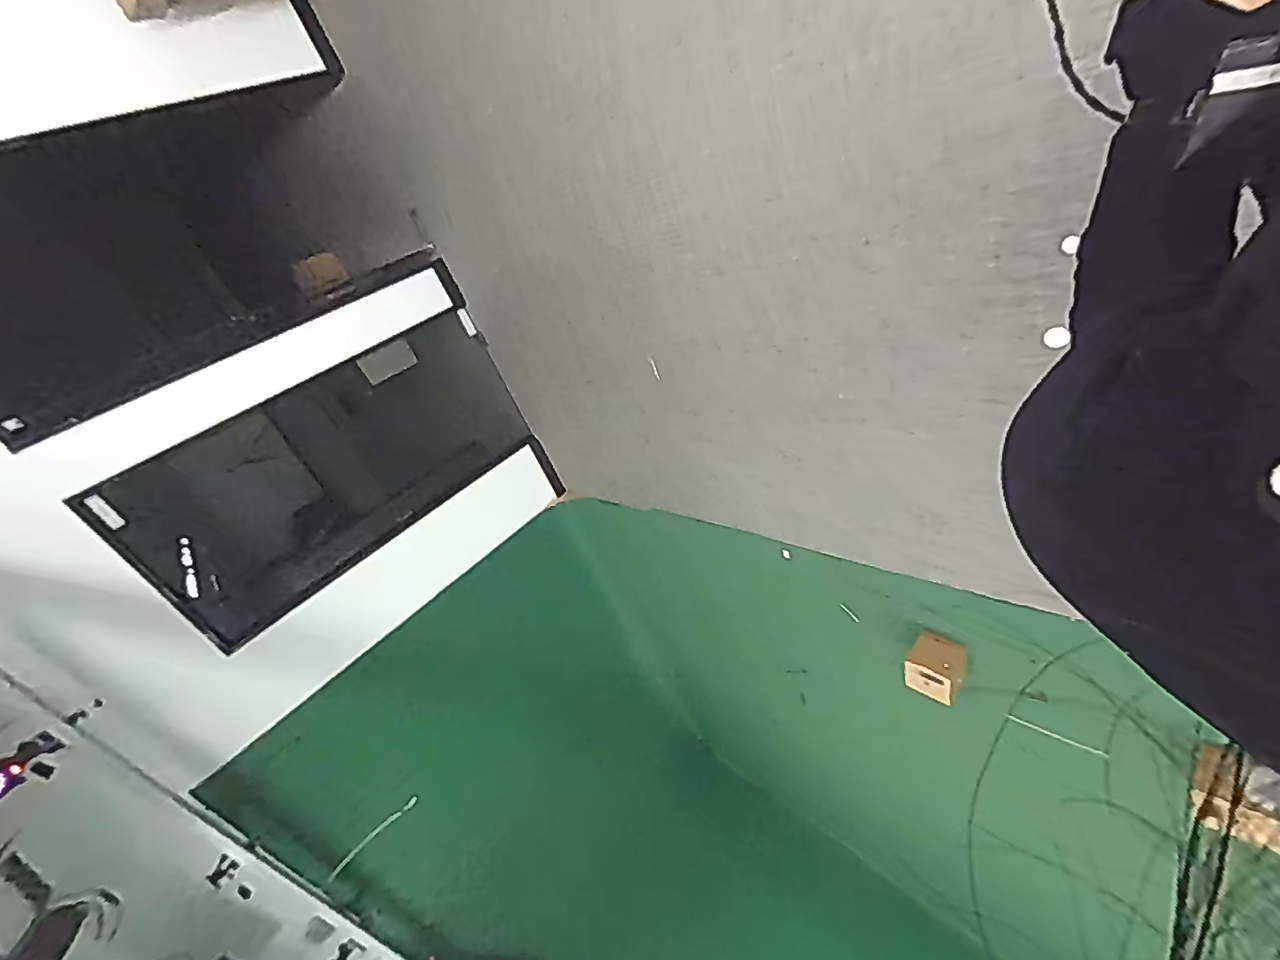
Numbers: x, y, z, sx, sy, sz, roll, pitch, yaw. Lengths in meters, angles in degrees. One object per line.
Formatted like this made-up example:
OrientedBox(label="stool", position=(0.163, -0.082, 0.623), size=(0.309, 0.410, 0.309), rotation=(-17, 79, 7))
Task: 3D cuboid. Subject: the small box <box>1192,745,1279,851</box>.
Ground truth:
OrientedBox(label="small box", position=(1.737, 0.906, 1.562), size=(0.179, 0.176, 0.168), rotation=(7, 131, 49))
